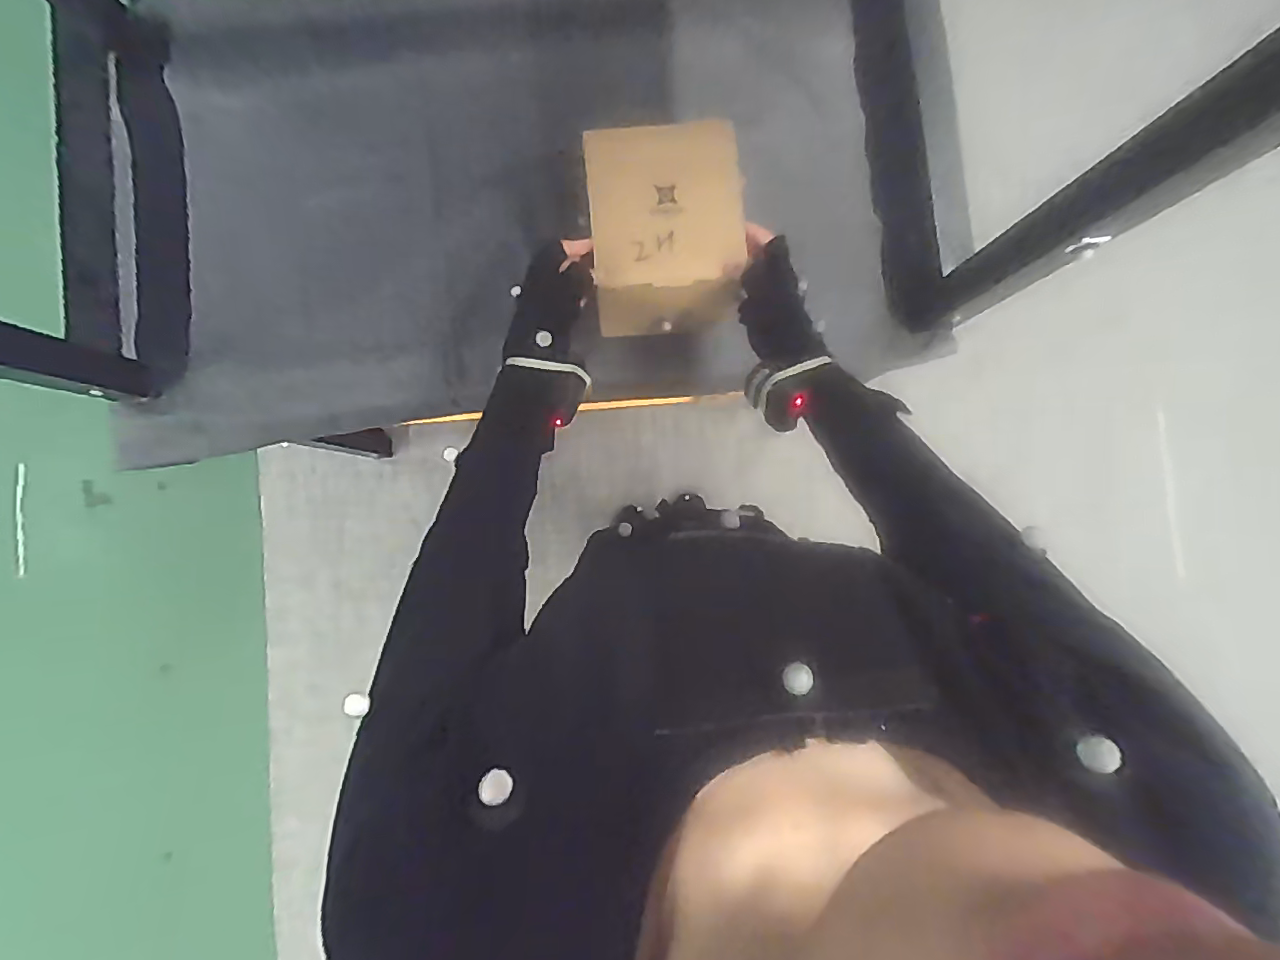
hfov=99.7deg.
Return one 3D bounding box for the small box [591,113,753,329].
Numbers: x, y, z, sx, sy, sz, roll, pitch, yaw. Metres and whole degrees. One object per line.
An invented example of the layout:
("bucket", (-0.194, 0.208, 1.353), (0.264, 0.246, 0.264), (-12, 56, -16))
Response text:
("small box", (0.030, -0.299, 0.652), (0.168, 0.176, 0.179), (-4, 87, -2))
